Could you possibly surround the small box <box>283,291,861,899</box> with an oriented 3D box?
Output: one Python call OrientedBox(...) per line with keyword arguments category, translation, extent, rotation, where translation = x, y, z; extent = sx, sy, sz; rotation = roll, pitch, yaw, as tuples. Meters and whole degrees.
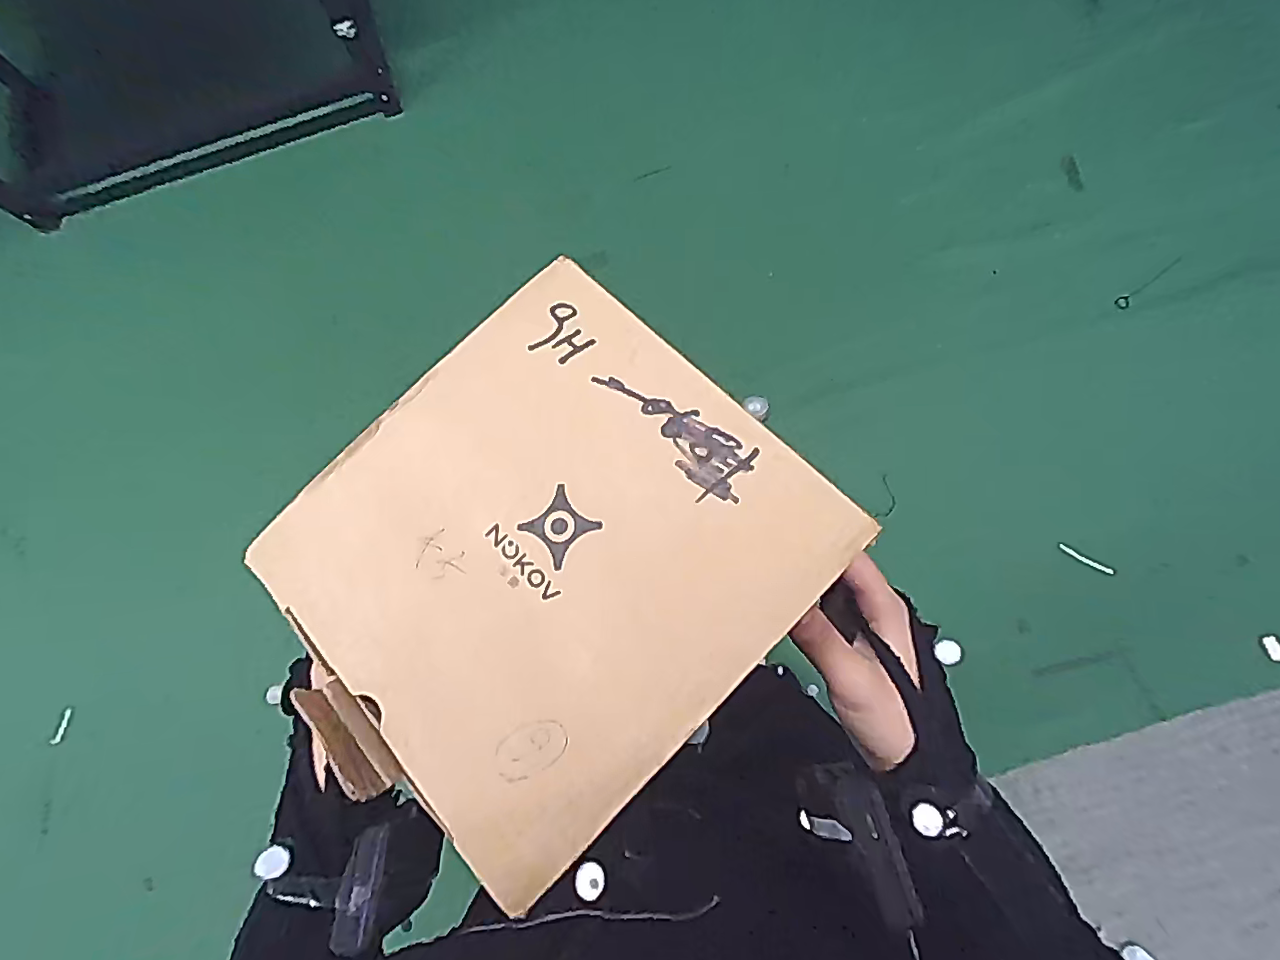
OrientedBox(category="small box", translation=(-0.023, 0.049, 0.286), extent=(0.168, 0.176, 0.179), rotation=(43, 85, 14))
